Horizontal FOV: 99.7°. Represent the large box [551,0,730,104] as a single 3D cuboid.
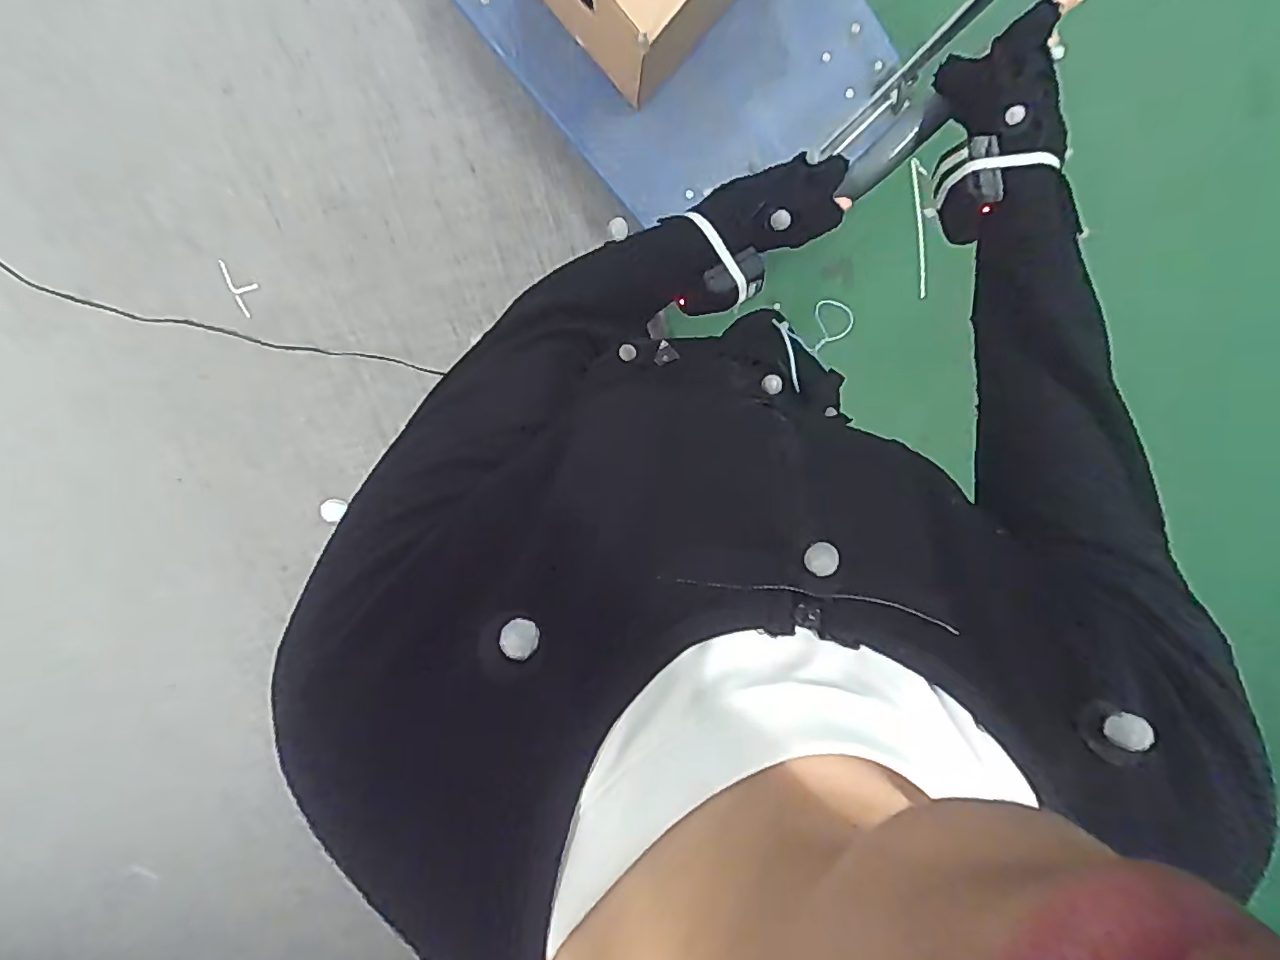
[{"bbox_3d":[0.041,-0.918,0.846,0.320,0.320,0.408,42,103,-14],"label":"large box"}]
